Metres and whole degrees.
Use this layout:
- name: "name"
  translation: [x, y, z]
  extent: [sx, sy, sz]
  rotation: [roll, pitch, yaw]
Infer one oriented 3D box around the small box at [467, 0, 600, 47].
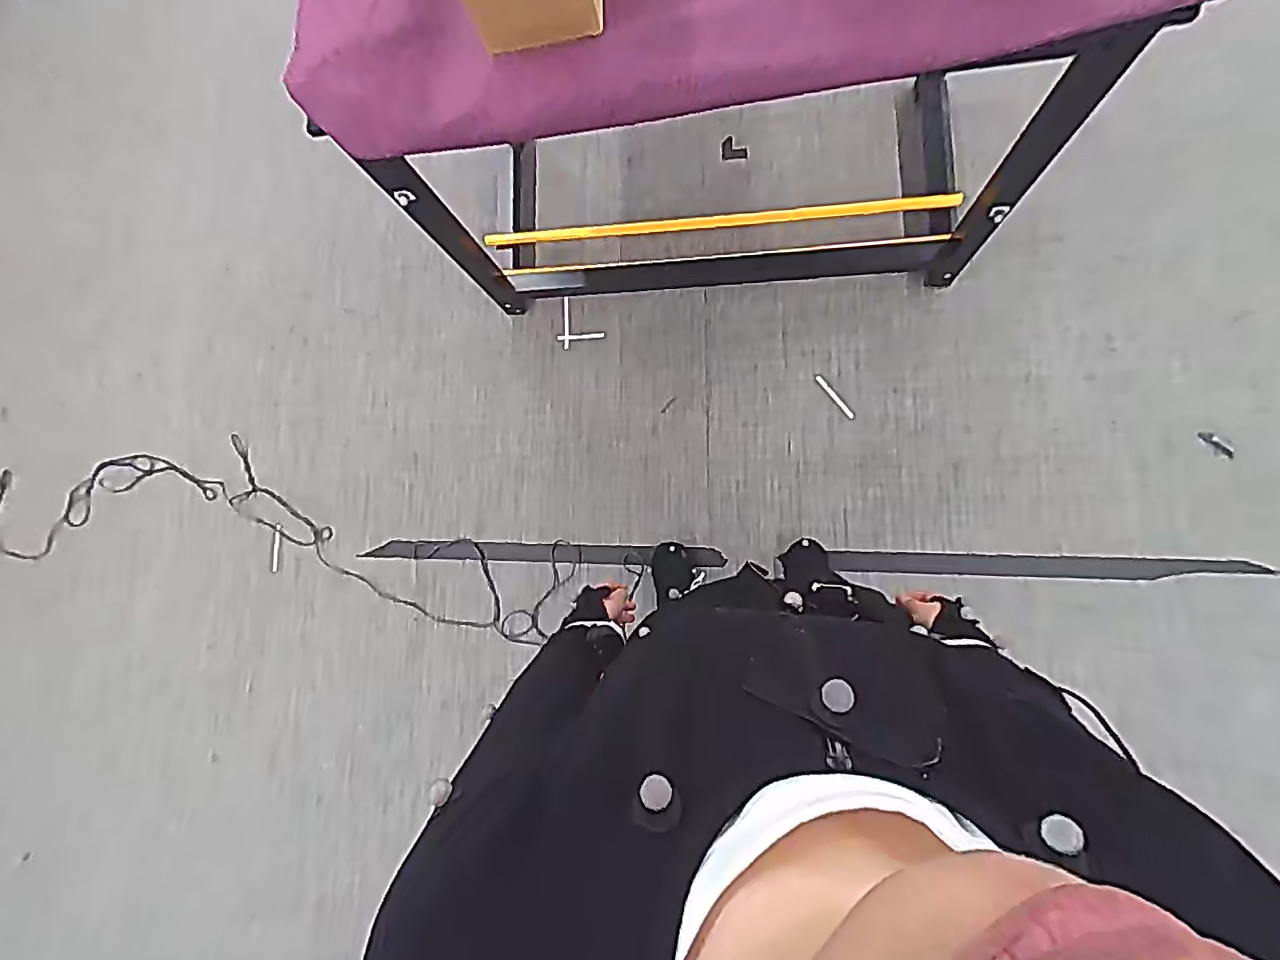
- name: "small box"
  translation: [-0.151, -0.726, 0.714]
  extent: [0.179, 0.176, 0.168]
  rotation: [-3, 83, 9]
